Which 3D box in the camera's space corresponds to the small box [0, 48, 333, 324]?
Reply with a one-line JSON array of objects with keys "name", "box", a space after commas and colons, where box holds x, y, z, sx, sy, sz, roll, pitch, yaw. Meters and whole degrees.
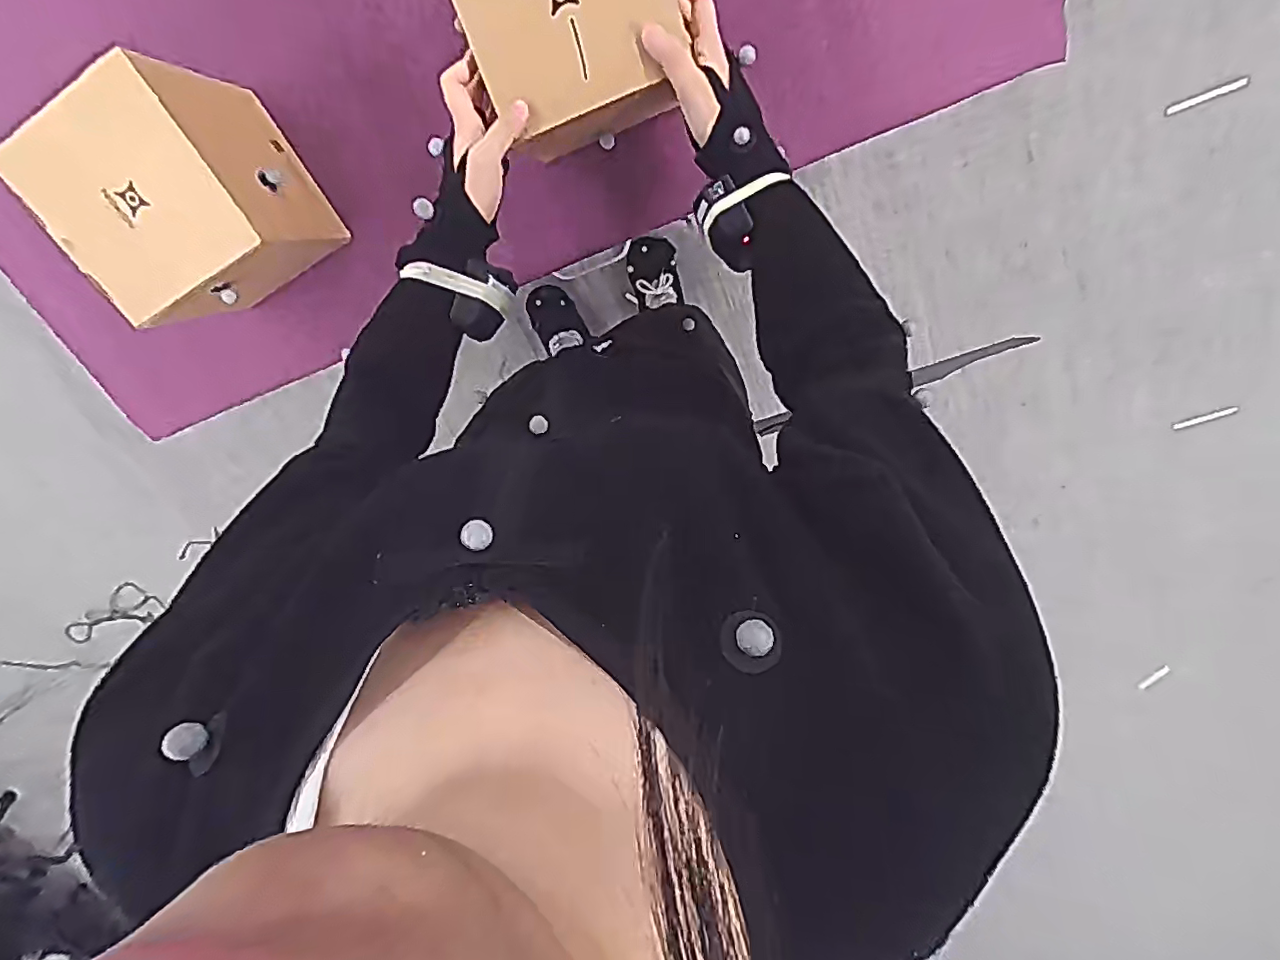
[{"name": "small box", "box": [-0.455, -0.288, 0.555, 0.179, 0.176, 0.168, -24, 113, 13]}]

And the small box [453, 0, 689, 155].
[{"name": "small box", "box": [-0.063, -0.416, 0.481, 0.168, 0.176, 0.179, -16, 116, 9]}]
